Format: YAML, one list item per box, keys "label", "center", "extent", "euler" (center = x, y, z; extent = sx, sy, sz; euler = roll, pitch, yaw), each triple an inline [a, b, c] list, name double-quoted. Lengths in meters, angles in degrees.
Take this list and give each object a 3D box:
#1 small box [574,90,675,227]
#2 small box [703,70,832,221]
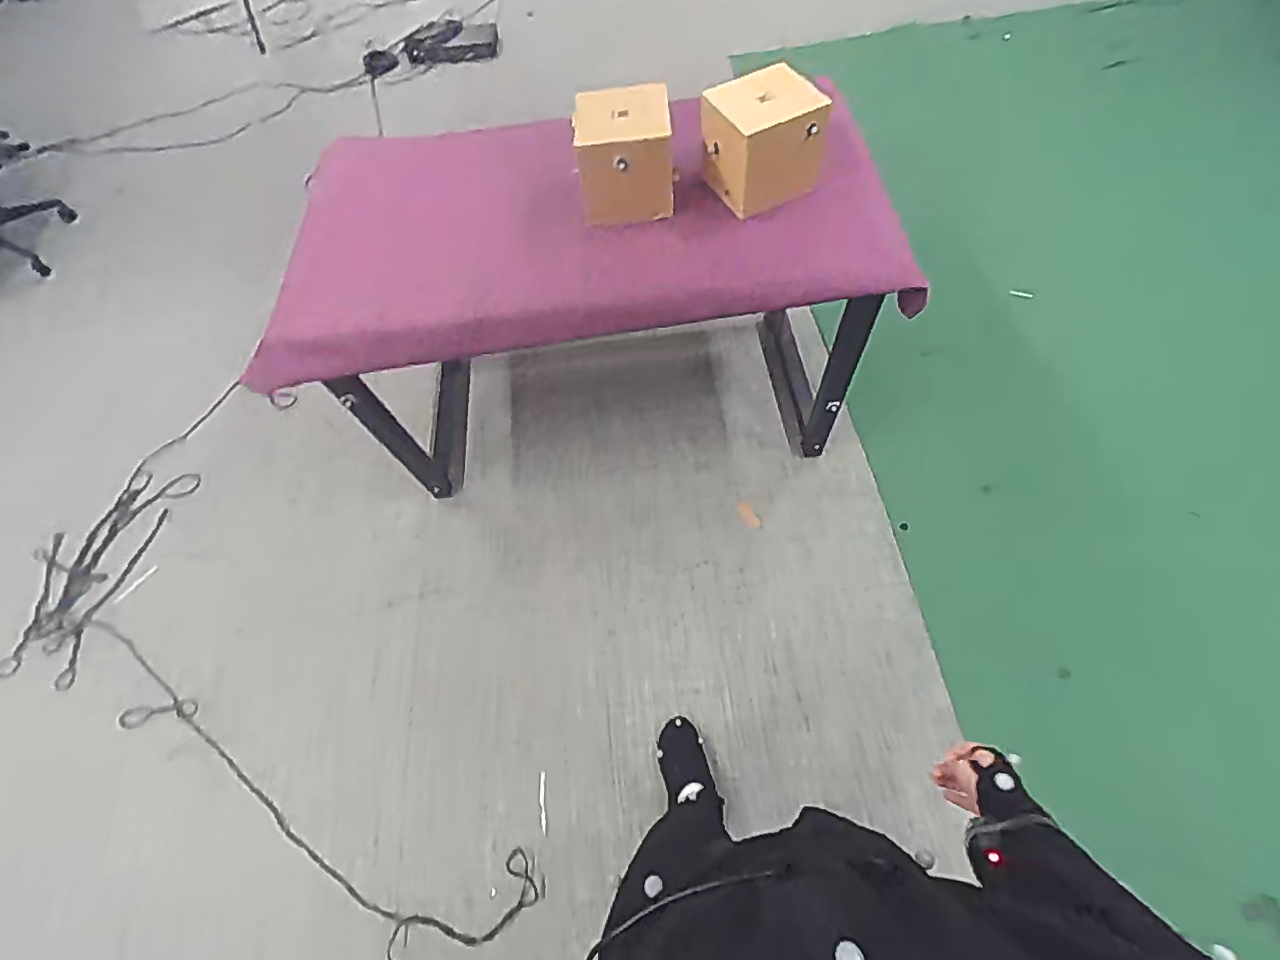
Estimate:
- label: "small box"
  center: [-0.024, -0.618, 1.053]
  extent: [0.179, 0.176, 0.168]
  euler: [-3, 63, 3]
- label: "small box"
  center: [0.234, -0.634, 1.037]
  extent: [0.179, 0.176, 0.168]
  euler: [-24, 62, -8]
